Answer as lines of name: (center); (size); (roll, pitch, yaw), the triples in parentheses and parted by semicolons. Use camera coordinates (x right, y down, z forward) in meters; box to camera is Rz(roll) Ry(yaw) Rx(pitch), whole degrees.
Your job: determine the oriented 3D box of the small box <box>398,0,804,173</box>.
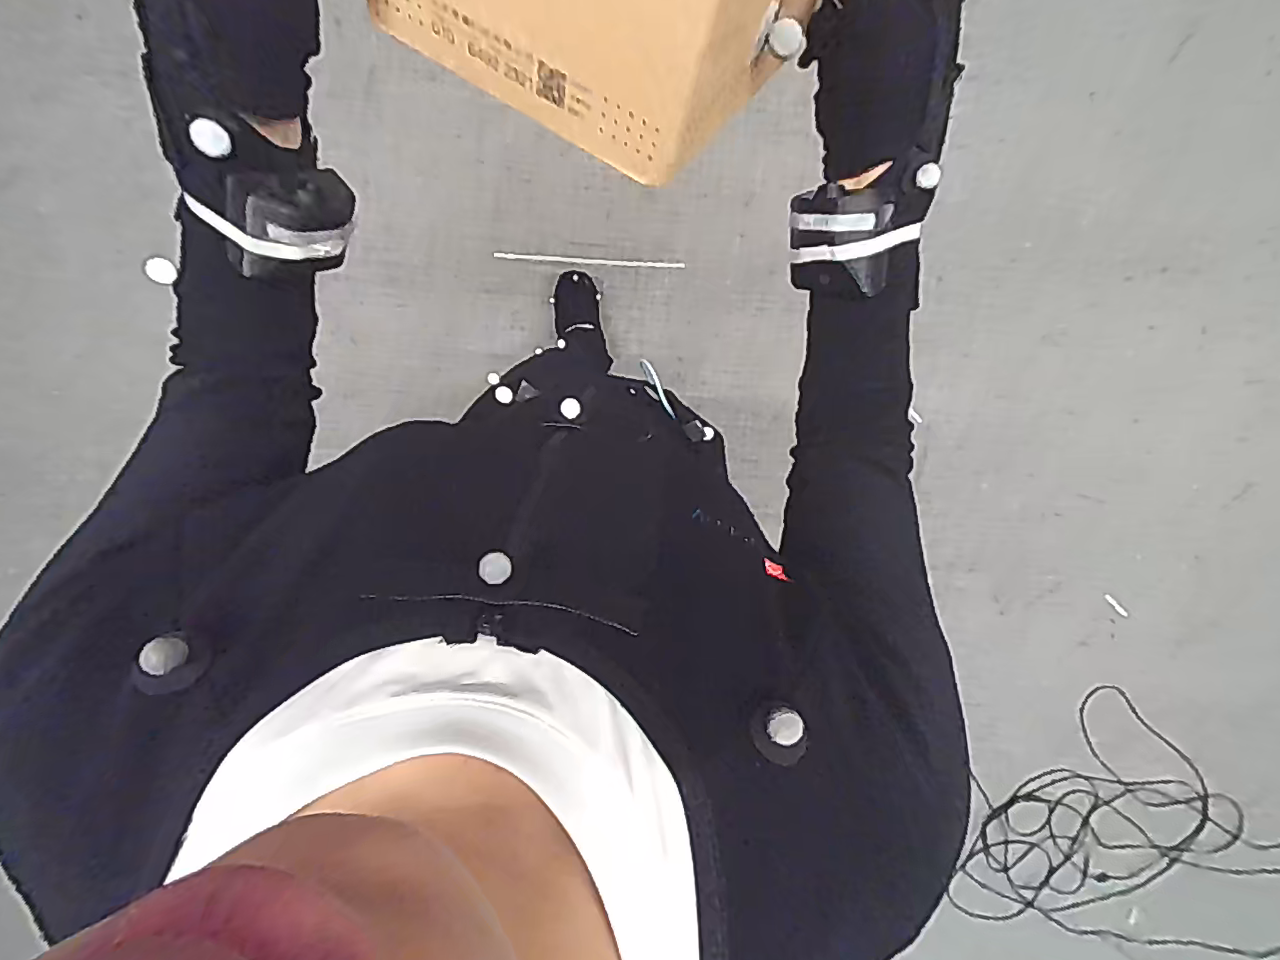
small box: (0.001, -0.279, 0.228); (0.168, 0.176, 0.179); (32, 63, 2)
